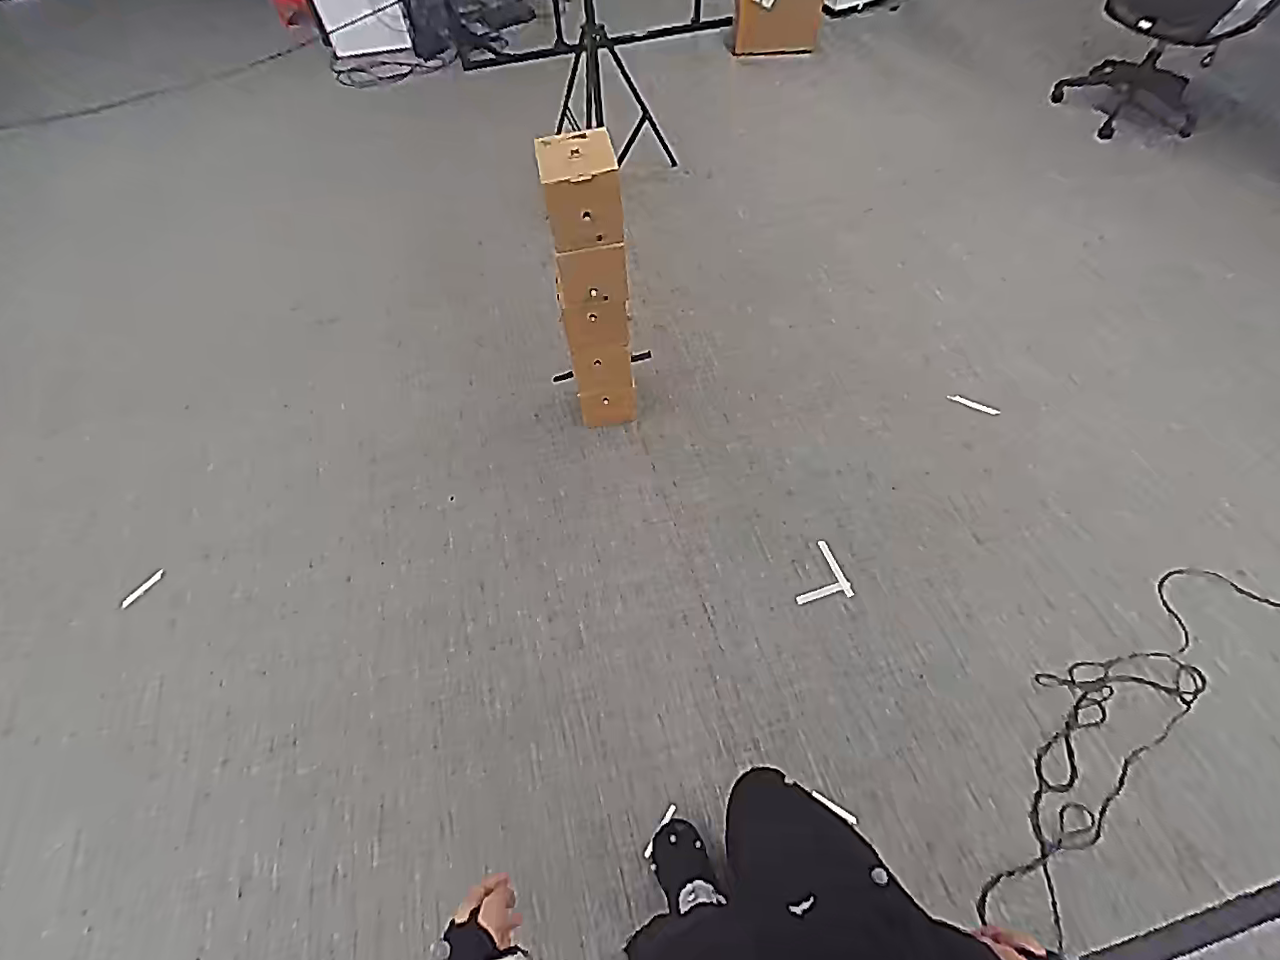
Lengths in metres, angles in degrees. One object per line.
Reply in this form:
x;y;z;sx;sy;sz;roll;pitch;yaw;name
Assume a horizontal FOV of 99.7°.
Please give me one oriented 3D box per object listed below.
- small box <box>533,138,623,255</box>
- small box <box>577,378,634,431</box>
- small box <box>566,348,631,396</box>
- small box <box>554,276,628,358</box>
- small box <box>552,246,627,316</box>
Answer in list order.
-0.137;-0.635;1.230;0.168;0.176;0.179;-11;61;-3;small box
-0.115;-0.281;1.780;0.179;0.176;0.168;-9;59;-3;small box
-0.125;-0.372;1.643;0.179;0.176;0.168;-6;60;-1;small box
-0.134;-0.461;1.508;0.179;0.176;0.168;-9;60;-3;small box
-0.128;-0.544;1.366;0.168;0.176;0.179;-9;61;-2;small box
